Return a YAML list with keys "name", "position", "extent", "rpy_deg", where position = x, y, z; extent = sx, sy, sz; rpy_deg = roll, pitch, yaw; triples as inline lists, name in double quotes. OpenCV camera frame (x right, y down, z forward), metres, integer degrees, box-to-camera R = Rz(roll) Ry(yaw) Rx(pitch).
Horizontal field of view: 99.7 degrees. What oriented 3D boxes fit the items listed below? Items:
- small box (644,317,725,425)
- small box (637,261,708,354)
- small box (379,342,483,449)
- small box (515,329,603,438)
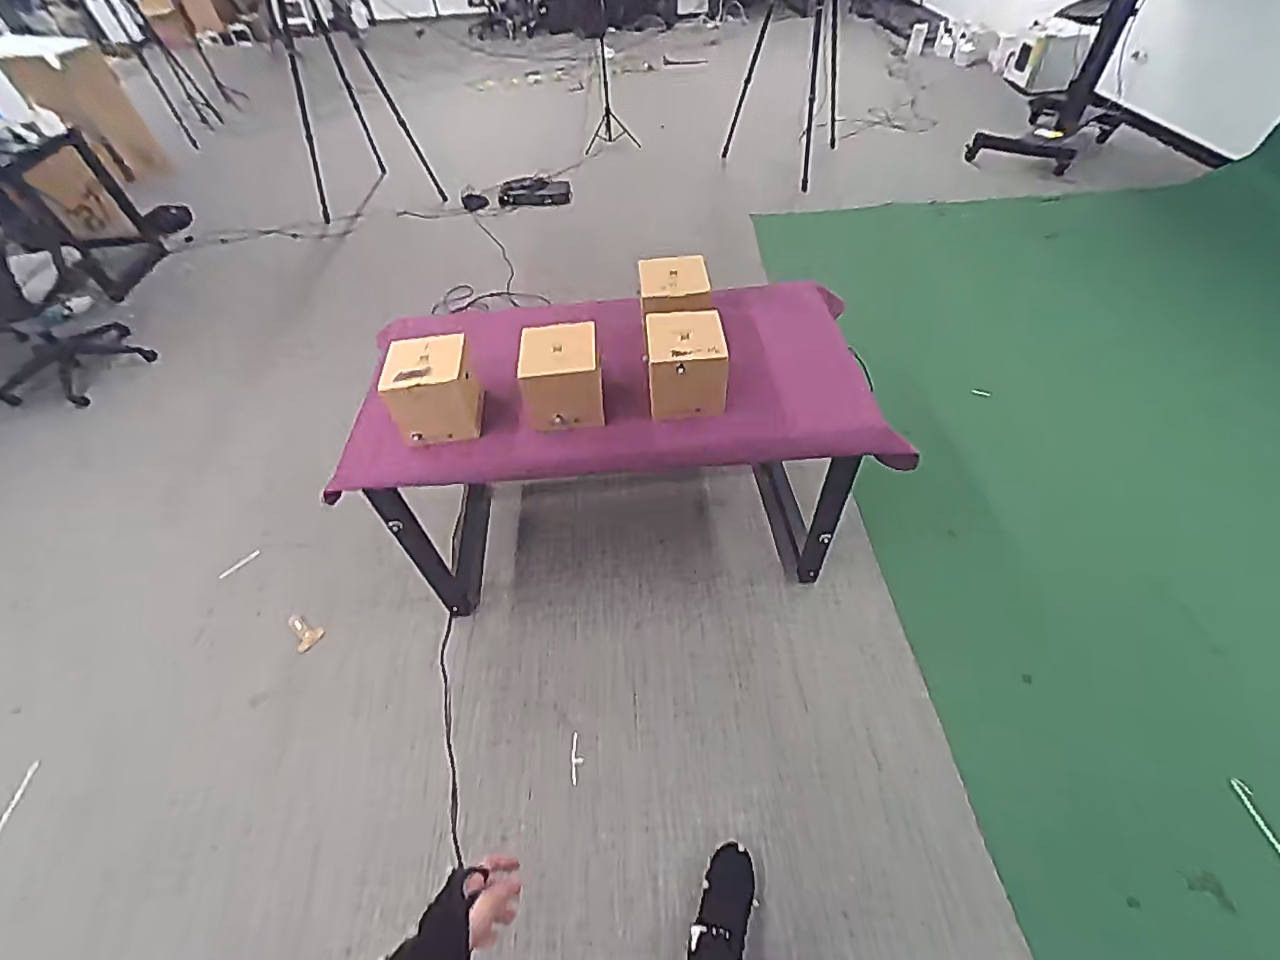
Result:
- name: "small box"
  position: [0.097, -0.248, 1.233]
  extent: [0.168, 0.176, 0.179]
  rpy_deg: [-5, 49, 2]
- name: "small box"
  position: [0.080, -0.437, 1.393]
  extent: [0.168, 0.176, 0.179]
  rpy_deg: [-5, 50, 2]
- name: "small box"
  position: [-0.463, -0.184, 1.227]
  extent: [0.168, 0.176, 0.179]
  rpy_deg: [-8, 48, -2]
- name: "small box"
  position: [-0.178, -0.218, 1.234]
  extent: [0.168, 0.176, 0.179]
  rpy_deg: [-6, 50, 1]
